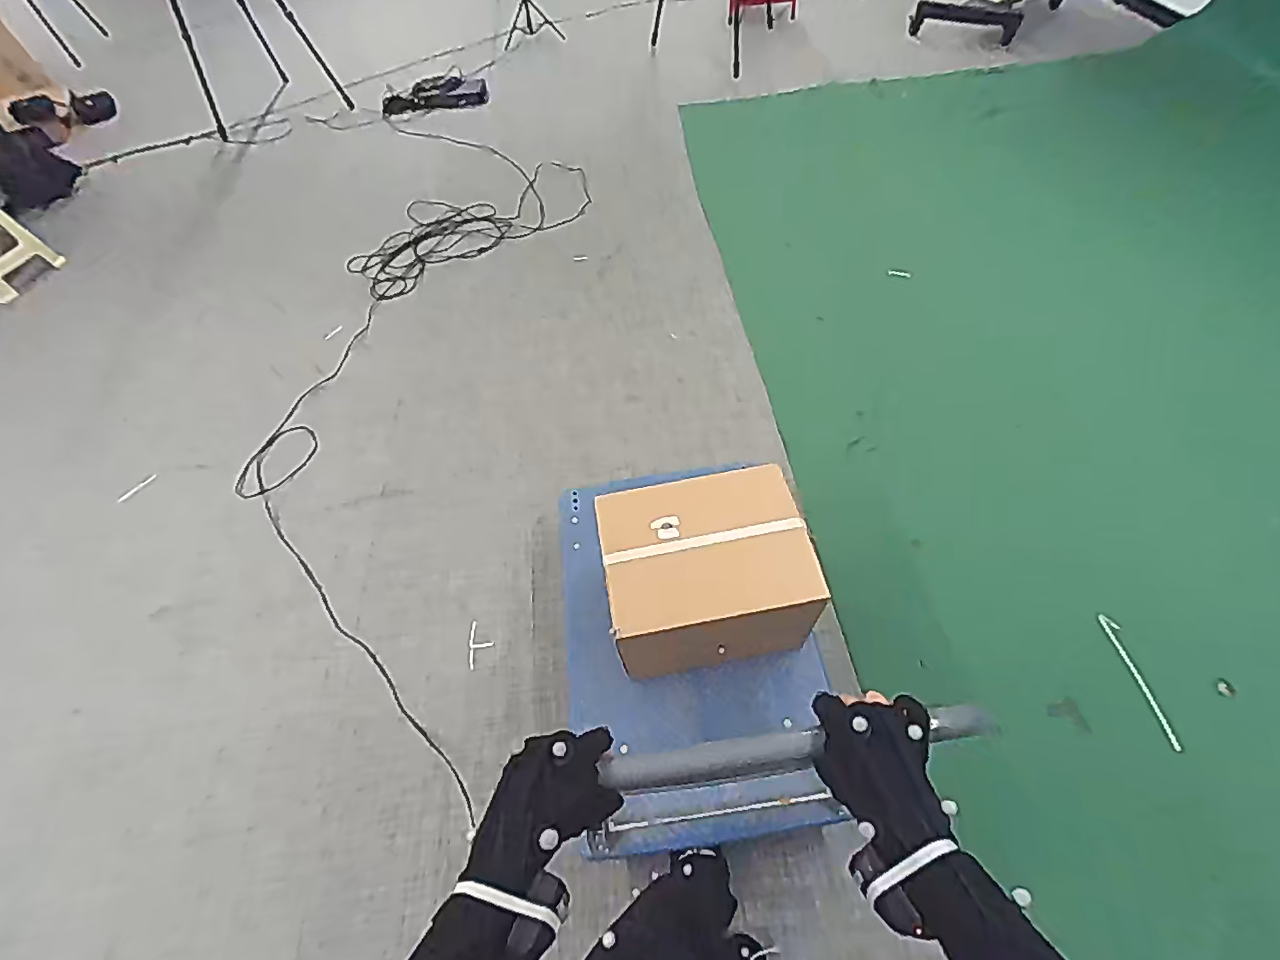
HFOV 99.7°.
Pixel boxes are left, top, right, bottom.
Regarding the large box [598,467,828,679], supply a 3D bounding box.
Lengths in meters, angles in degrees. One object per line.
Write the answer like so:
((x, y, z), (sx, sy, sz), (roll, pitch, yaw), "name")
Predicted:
((0.147, 0.217, 1.209), (0.408, 0.320, 0.320), (-12, 56, -1), "large box")
